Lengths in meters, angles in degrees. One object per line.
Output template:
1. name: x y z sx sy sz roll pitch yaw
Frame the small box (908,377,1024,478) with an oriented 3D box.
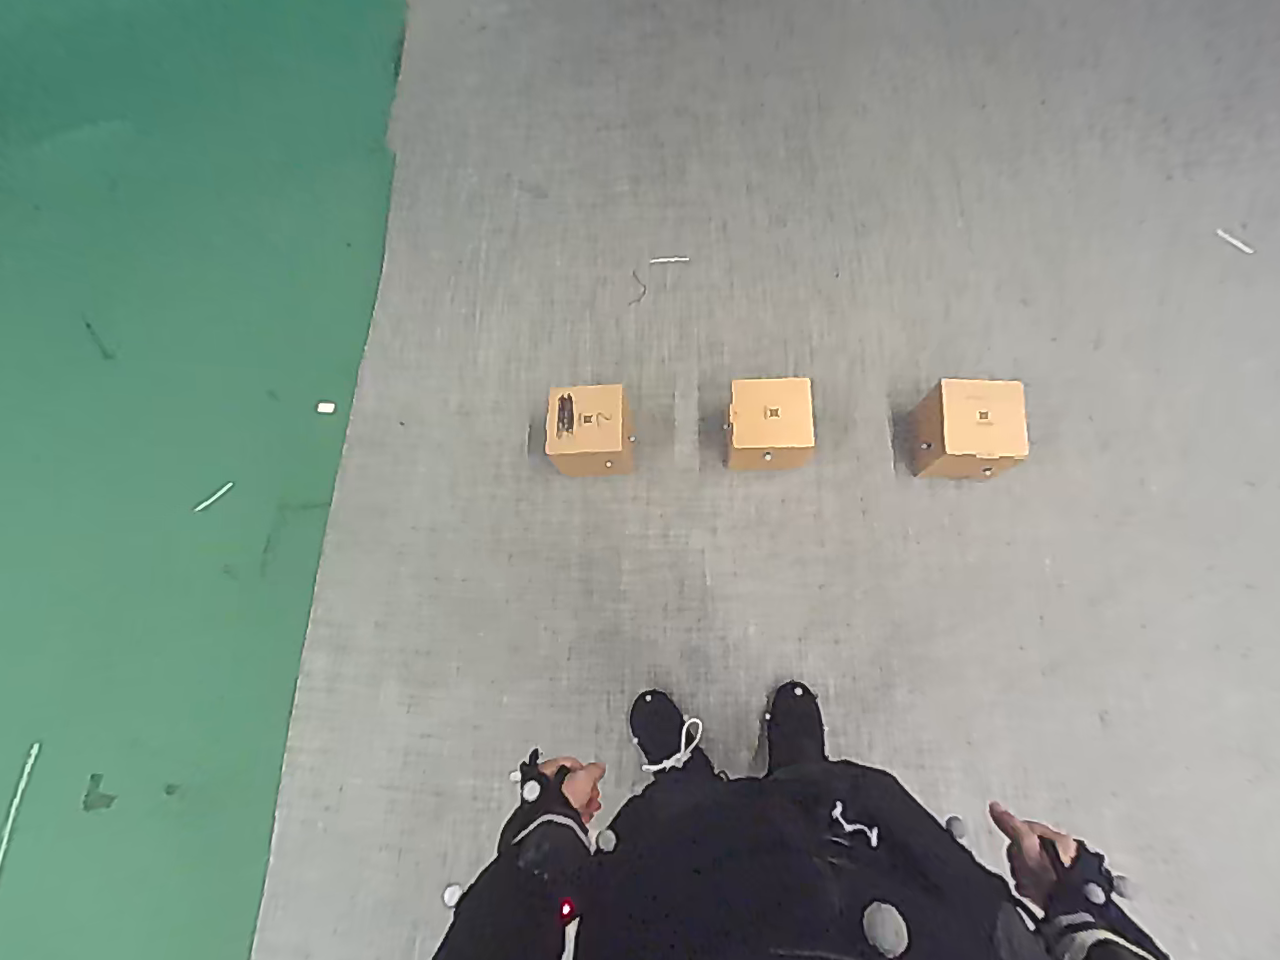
1. small box: 0.719 -0.112 1.210 0.168 0.176 0.179 4 73 5

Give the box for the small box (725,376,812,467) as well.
1. small box: 0.291 -0.132 1.259 0.179 0.176 0.168 -1 73 6
